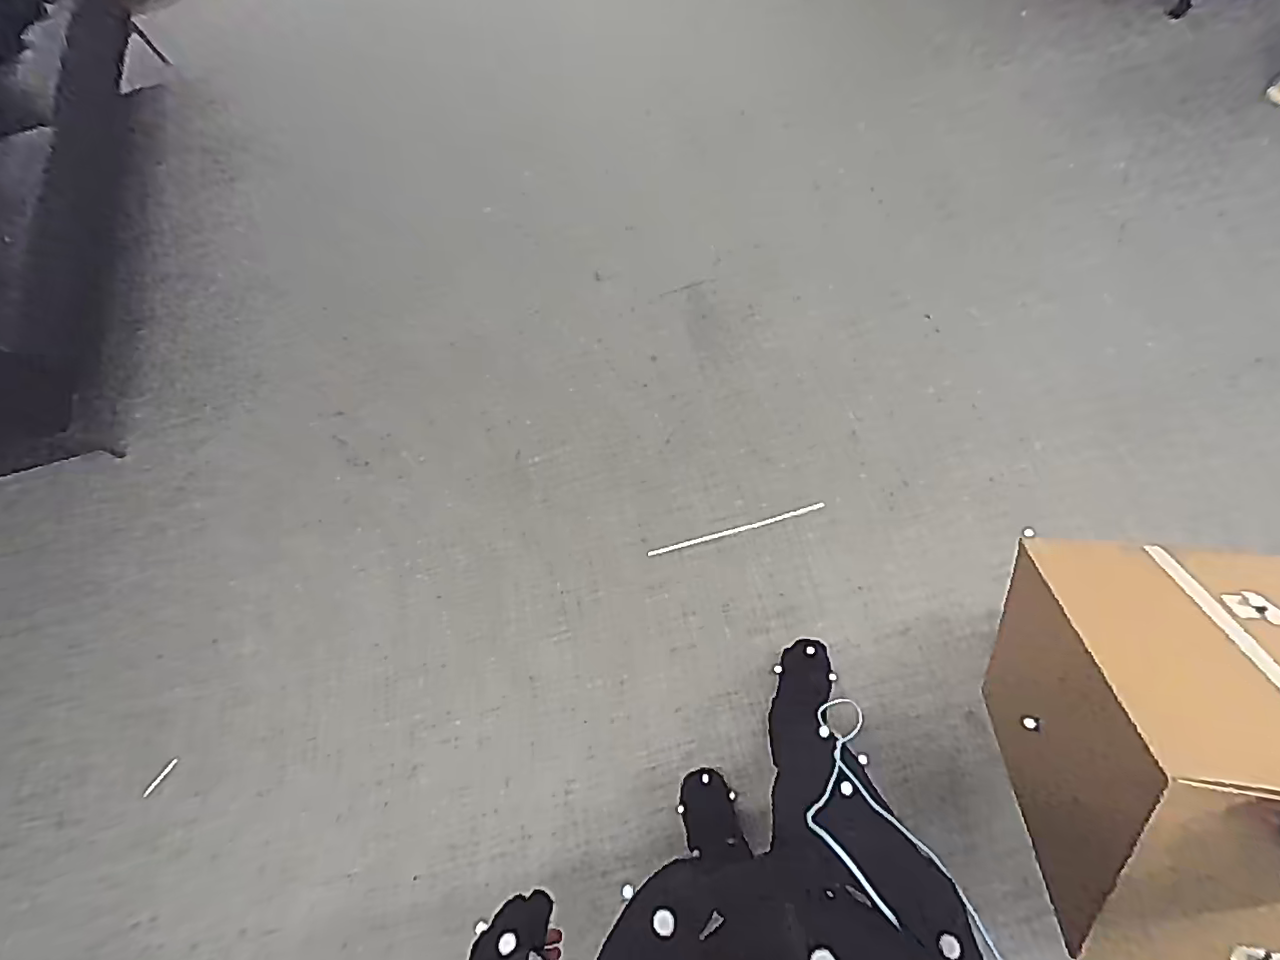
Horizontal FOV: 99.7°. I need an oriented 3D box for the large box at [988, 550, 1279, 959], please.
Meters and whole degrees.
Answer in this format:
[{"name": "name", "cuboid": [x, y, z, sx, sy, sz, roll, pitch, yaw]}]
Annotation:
[{"name": "large box", "cuboid": [0.677, 0.331, 0.663, 0.320, 0.320, 0.408, 4, 26, 16]}]
